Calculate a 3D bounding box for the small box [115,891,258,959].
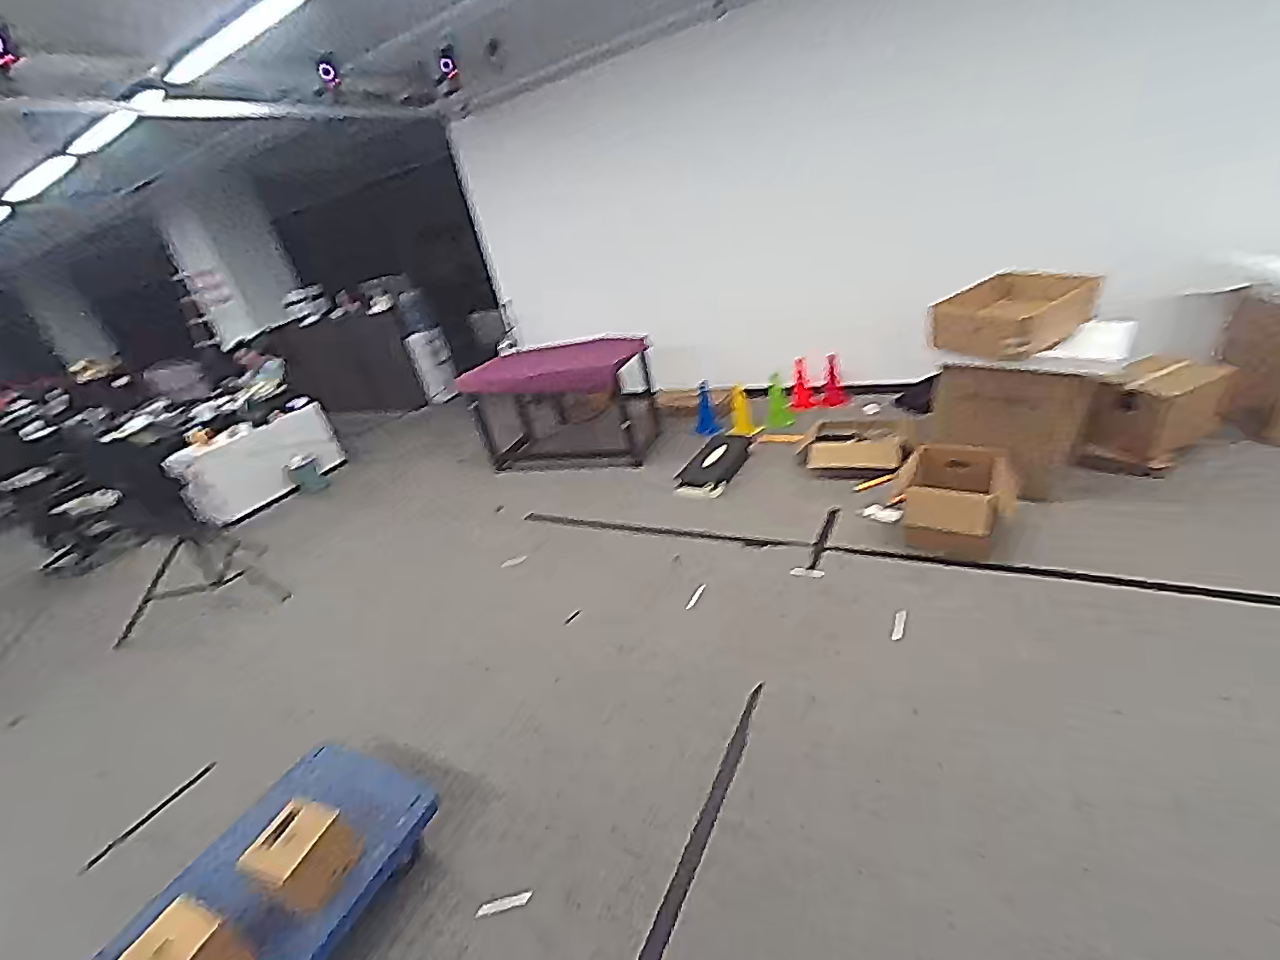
[{"bbox_3d":[-1.016,1.080,1.211,0.179,0.176,0.168,2,30,26],"label":"small box"}]
